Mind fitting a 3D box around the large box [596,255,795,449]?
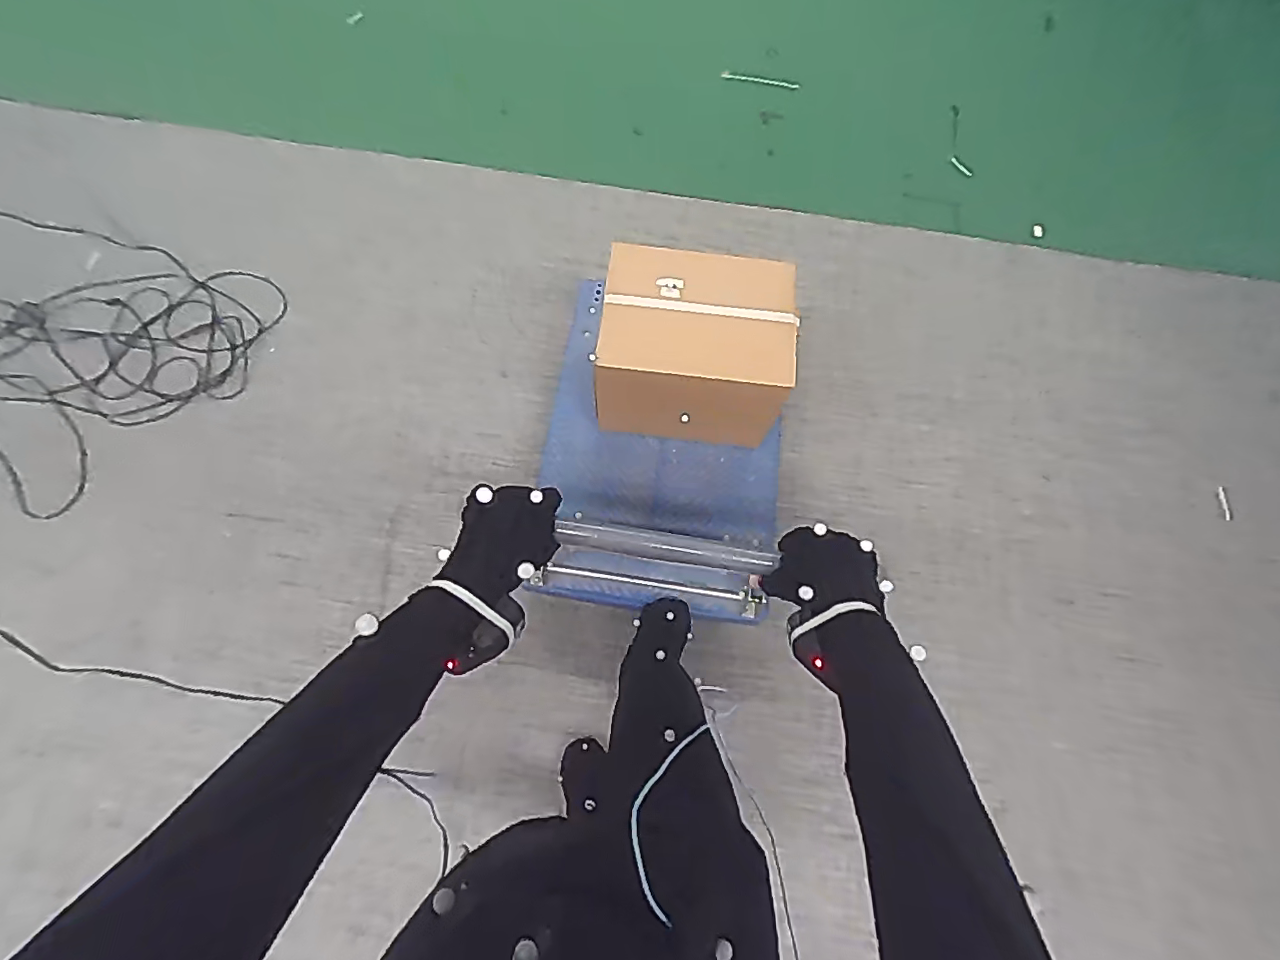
[{"bbox_3d":[0.121,-0.280,1.261,0.408,0.320,0.320,6,69,1],"label":"large box"}]
